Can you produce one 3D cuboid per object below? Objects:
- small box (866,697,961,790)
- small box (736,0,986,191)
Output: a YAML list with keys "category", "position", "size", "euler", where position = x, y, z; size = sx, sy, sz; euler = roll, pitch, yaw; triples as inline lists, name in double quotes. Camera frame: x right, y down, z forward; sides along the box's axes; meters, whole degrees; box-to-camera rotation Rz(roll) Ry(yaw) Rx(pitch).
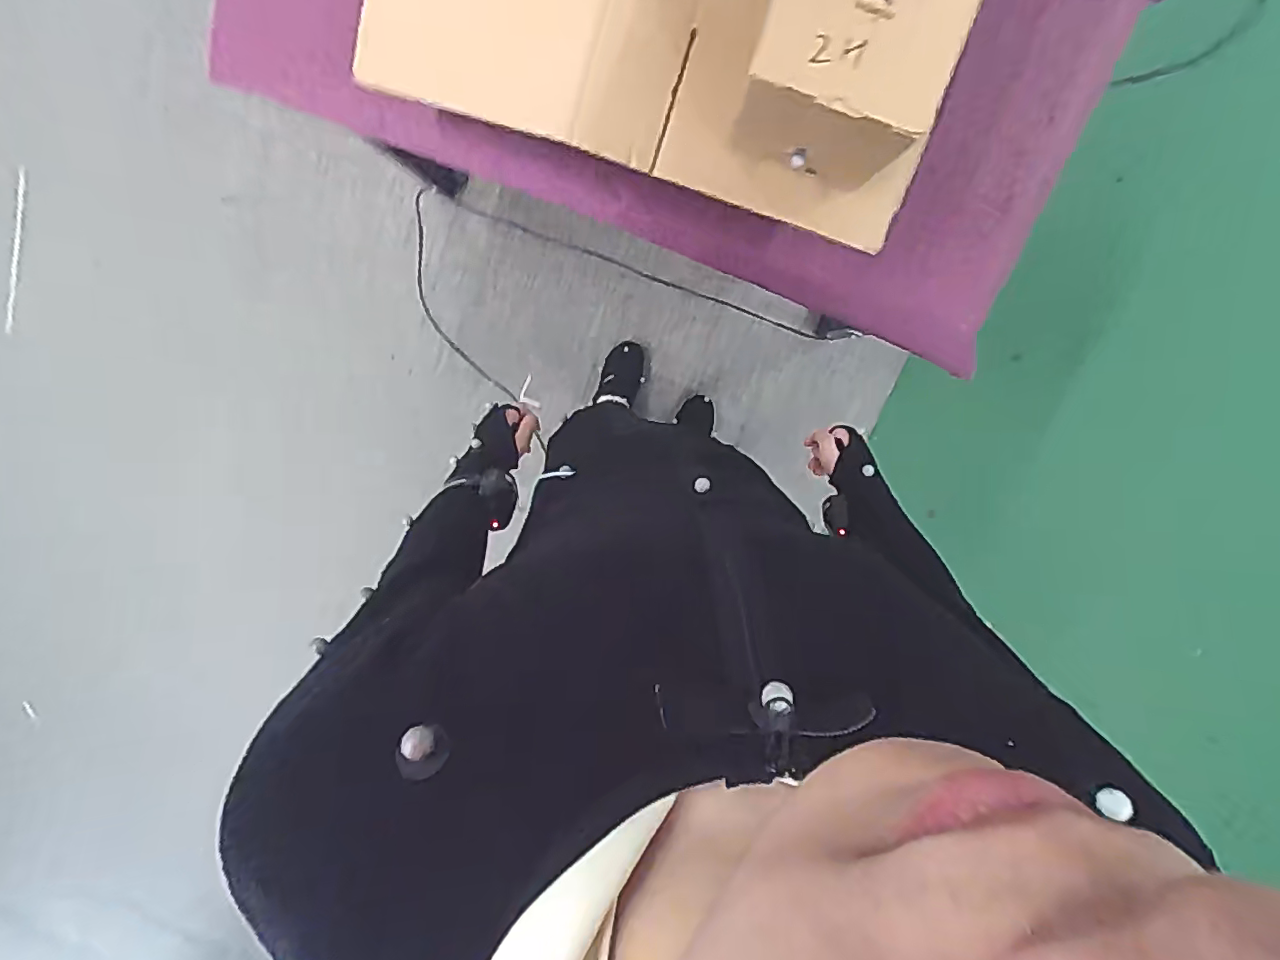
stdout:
- category: "small box"
  position: [0.847, 0.816, 1.693]
  size: [0.179, 0.176, 0.168]
  euler: [25, 103, -2]
- category: "small box"
  position: [0.206, -0.422, 0.533]
  size: [0.168, 0.176, 0.179]
  euler: [19, 103, -3]
